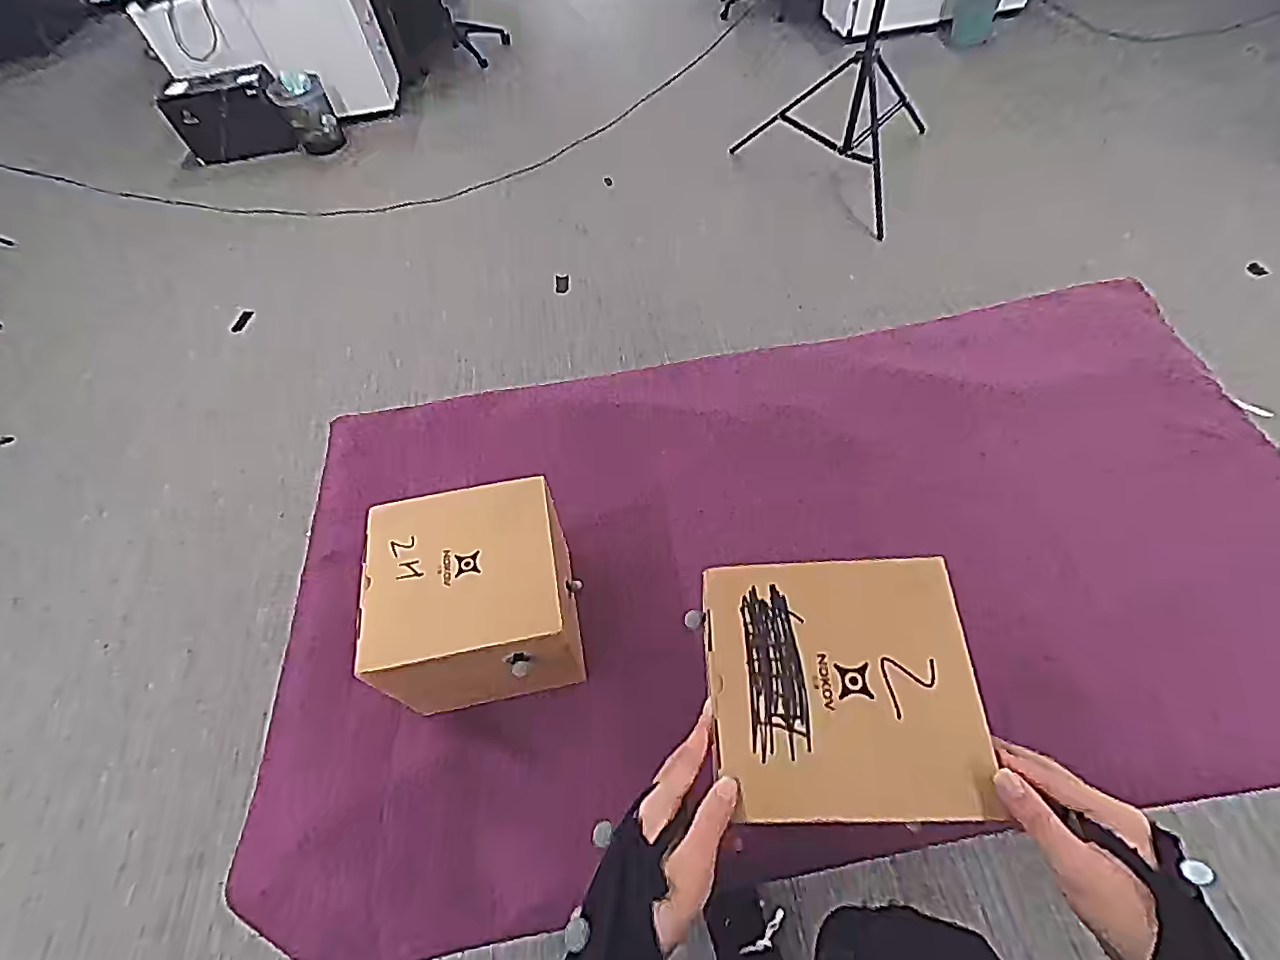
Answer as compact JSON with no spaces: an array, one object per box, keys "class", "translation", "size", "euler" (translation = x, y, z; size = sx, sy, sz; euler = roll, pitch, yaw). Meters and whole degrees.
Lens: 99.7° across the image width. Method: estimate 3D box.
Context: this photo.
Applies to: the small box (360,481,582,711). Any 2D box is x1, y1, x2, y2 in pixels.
[{"class":"small box","translation":[-0.159,0.126,0.563],"size":[0.179,0.176,0.168],"euler":[-10,56,-4]}]
